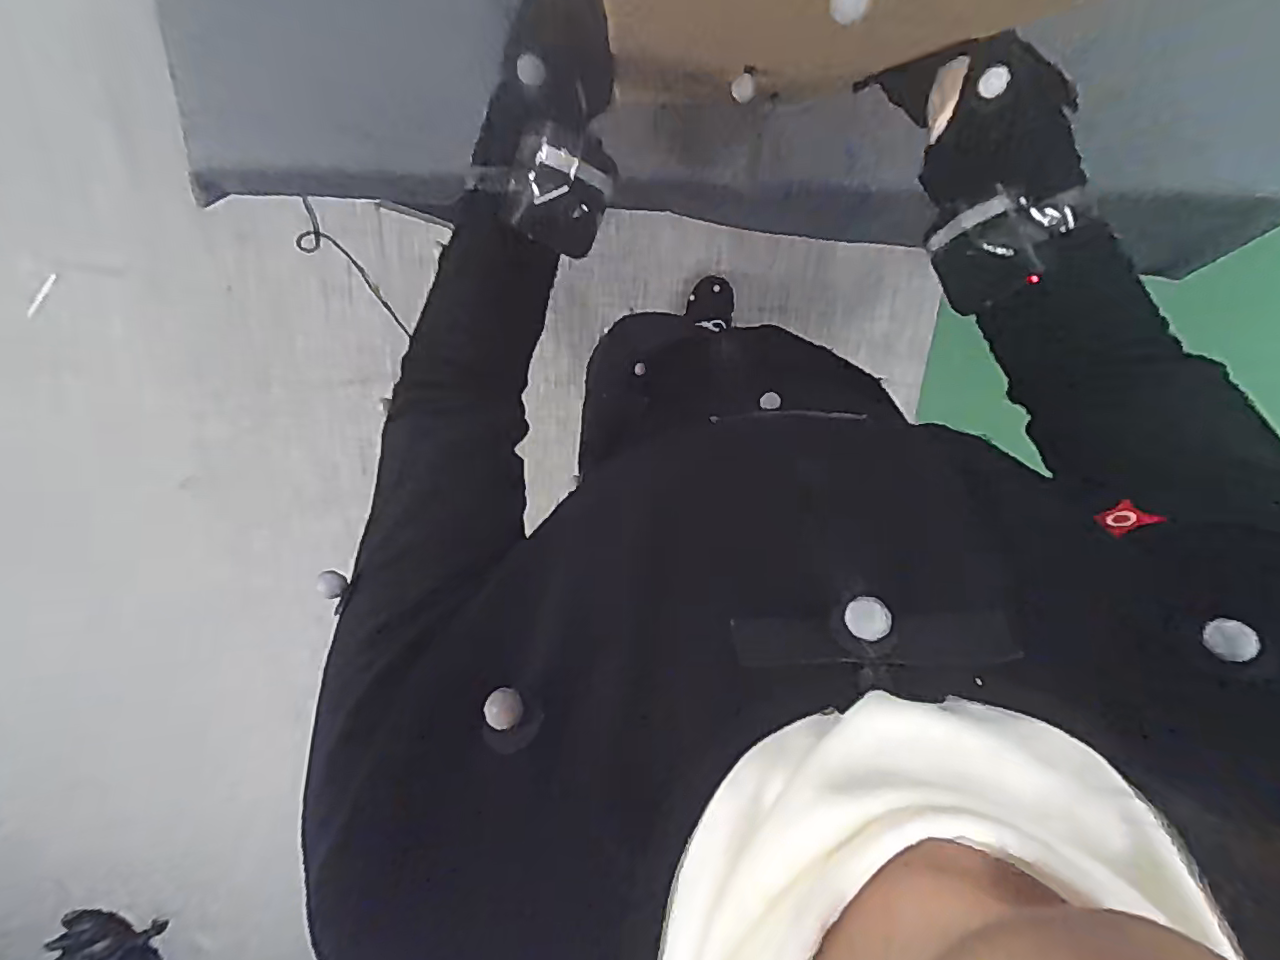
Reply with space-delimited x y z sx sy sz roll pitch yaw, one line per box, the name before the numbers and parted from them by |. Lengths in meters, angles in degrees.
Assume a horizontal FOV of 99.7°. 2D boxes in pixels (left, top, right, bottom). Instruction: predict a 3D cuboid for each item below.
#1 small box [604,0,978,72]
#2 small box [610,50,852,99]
small box | 0.067 -0.324 0.277 0.179 0.176 0.168 -2 120 0
small box | 0.065 -0.406 0.418 0.179 0.176 0.168 0 119 0
